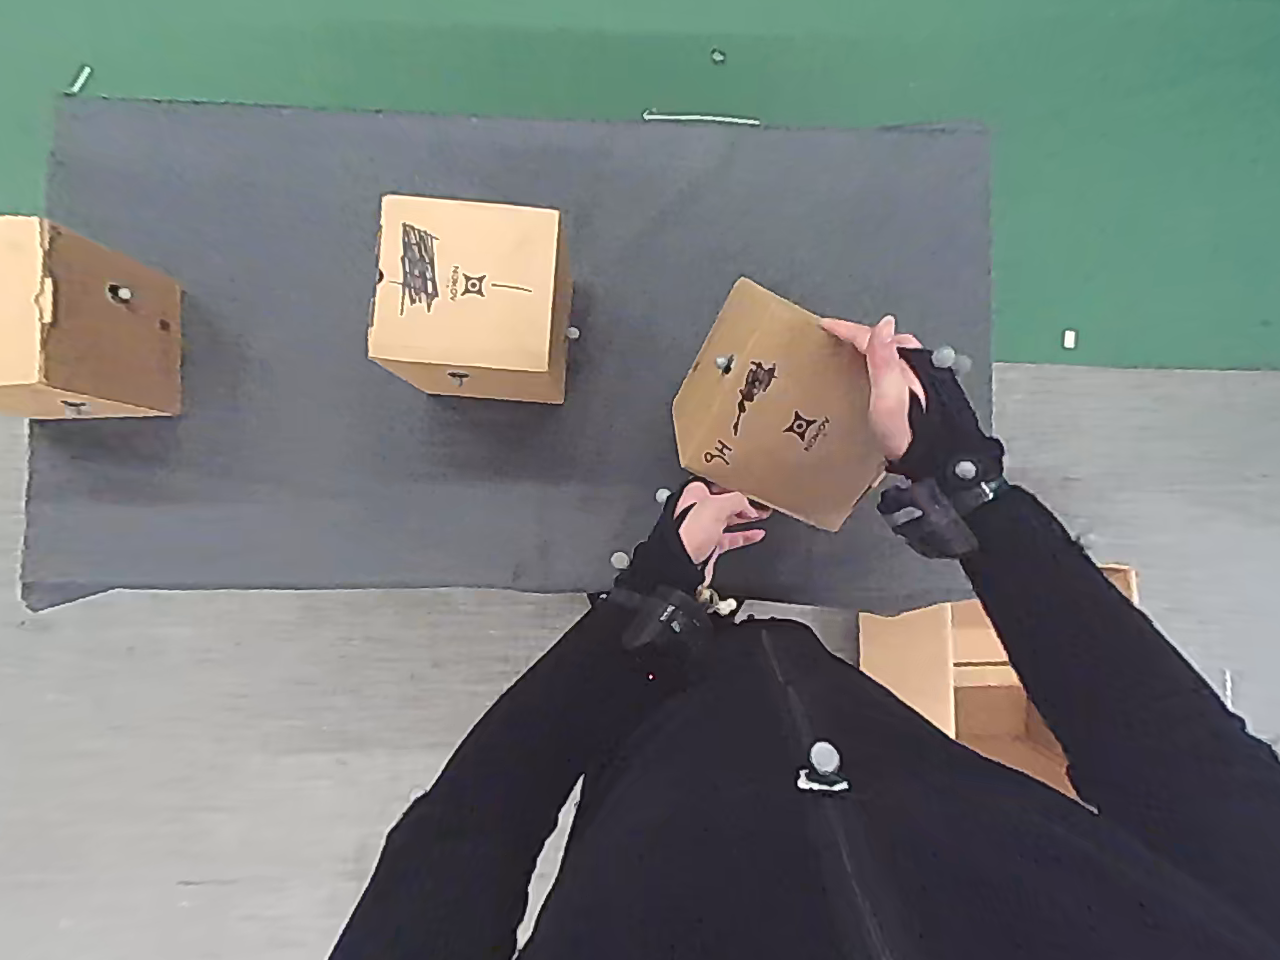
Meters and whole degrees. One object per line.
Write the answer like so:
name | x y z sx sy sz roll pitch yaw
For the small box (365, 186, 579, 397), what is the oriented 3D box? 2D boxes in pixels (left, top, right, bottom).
small box | -0.172 -0.194 0.607 0.179 0.176 0.168 8 89 -1

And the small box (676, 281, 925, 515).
small box | 0.150 -0.095 0.576 0.179 0.176 0.168 21 117 -9

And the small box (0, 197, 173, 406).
small box | -0.647 -0.176 0.575 0.179 0.176 0.168 -2 87 -2
